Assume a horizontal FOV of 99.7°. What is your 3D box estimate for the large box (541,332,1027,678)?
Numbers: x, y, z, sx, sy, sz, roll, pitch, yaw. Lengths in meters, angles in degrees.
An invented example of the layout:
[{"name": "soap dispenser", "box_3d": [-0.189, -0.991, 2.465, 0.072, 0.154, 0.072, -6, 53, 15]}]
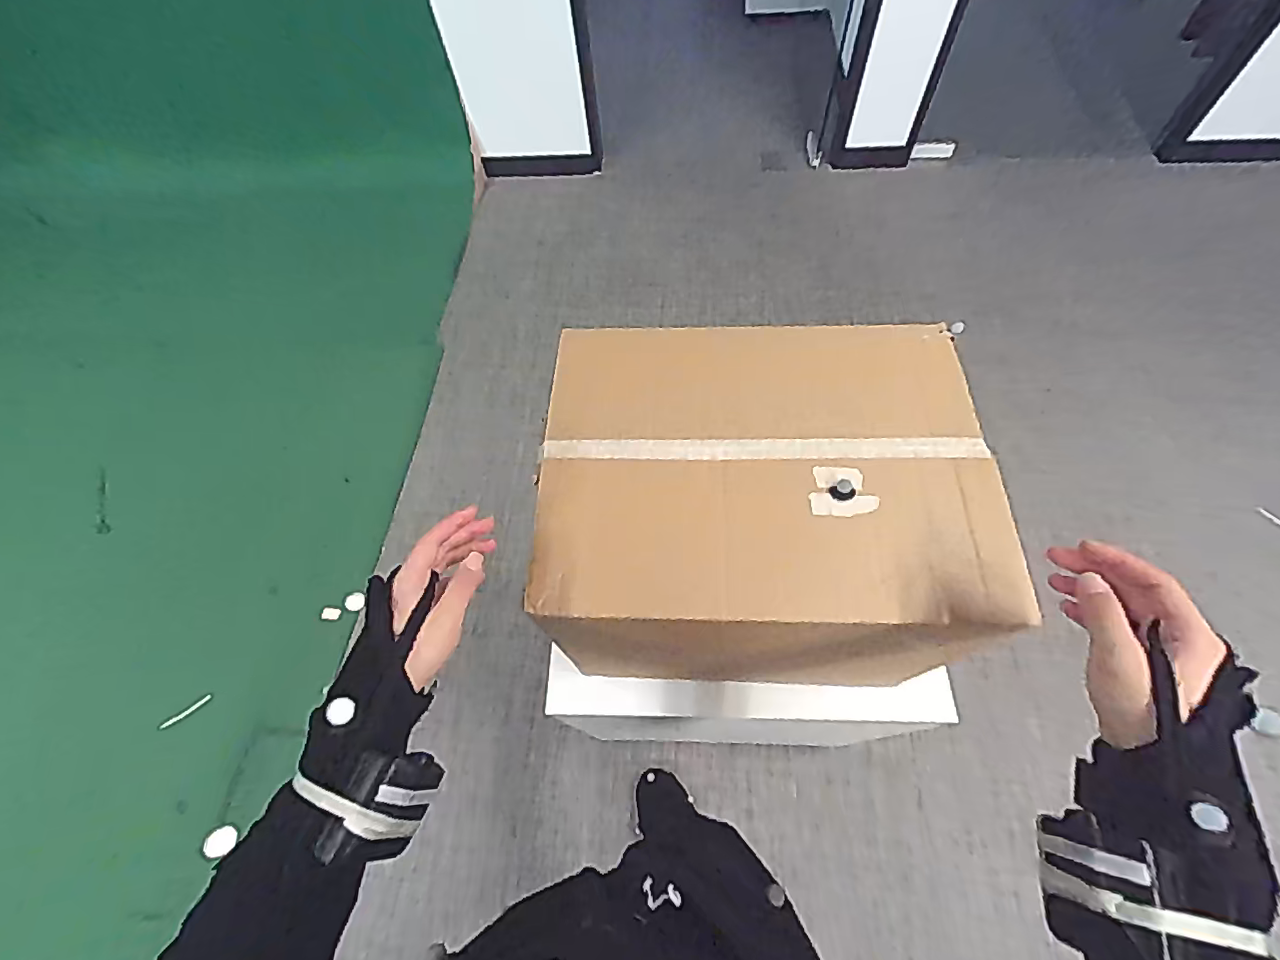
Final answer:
[{"name": "large box", "box_3d": [0.121, 0.048, 0.641, 0.408, 0.320, 0.320, 1, 62, 3]}]
